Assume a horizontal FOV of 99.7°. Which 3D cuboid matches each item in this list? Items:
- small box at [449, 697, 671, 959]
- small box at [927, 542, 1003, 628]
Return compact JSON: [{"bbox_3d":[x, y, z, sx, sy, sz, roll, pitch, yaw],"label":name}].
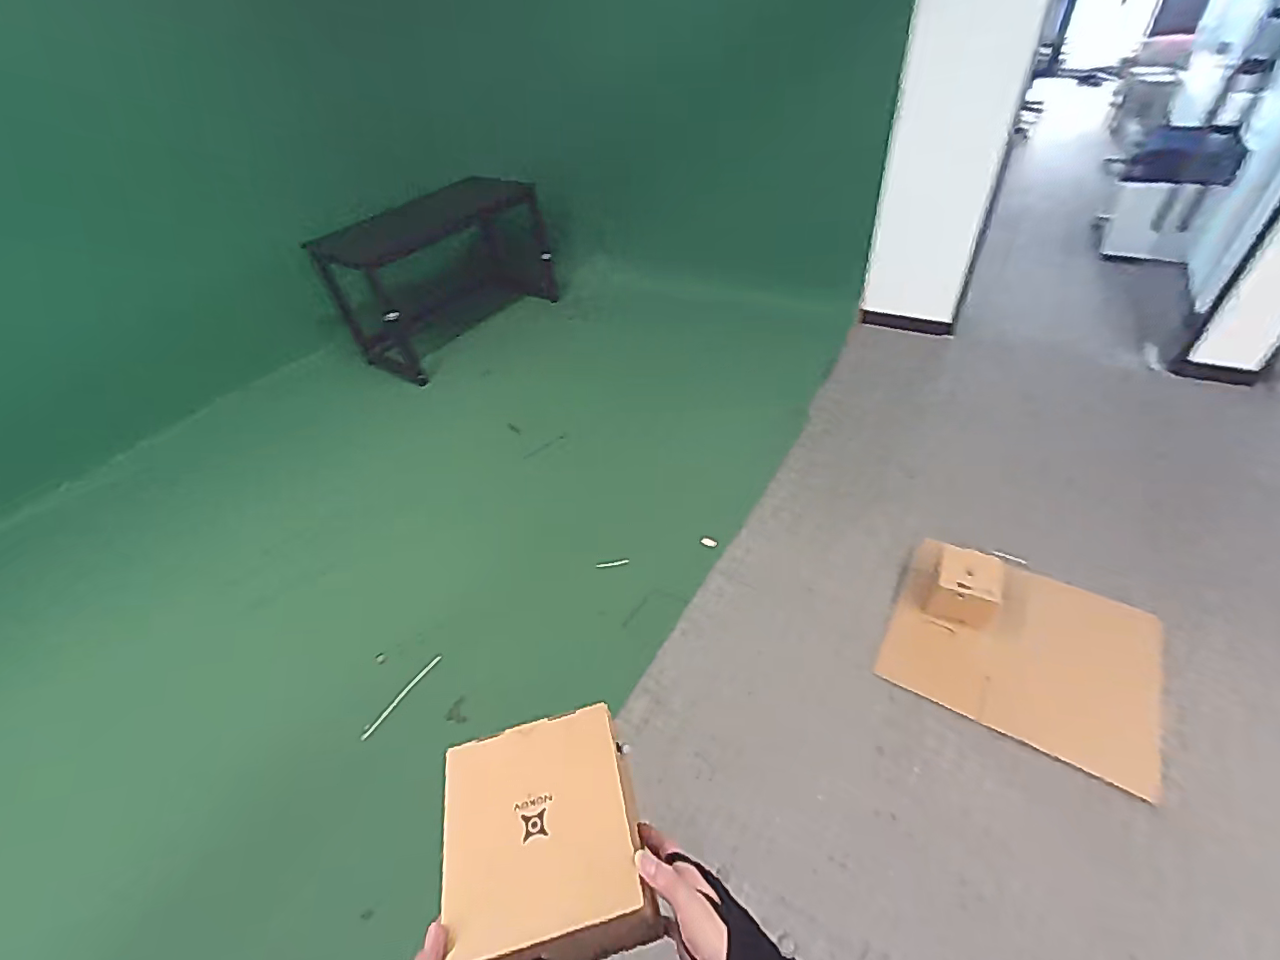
[{"bbox_3d":[-0.074,0.353,0.532,0.168,0.176,0.179,-15,41,-4],"label":"small box"},{"bbox_3d":[1.020,0.330,1.702,0.168,0.176,0.179,14,48,22],"label":"small box"}]
